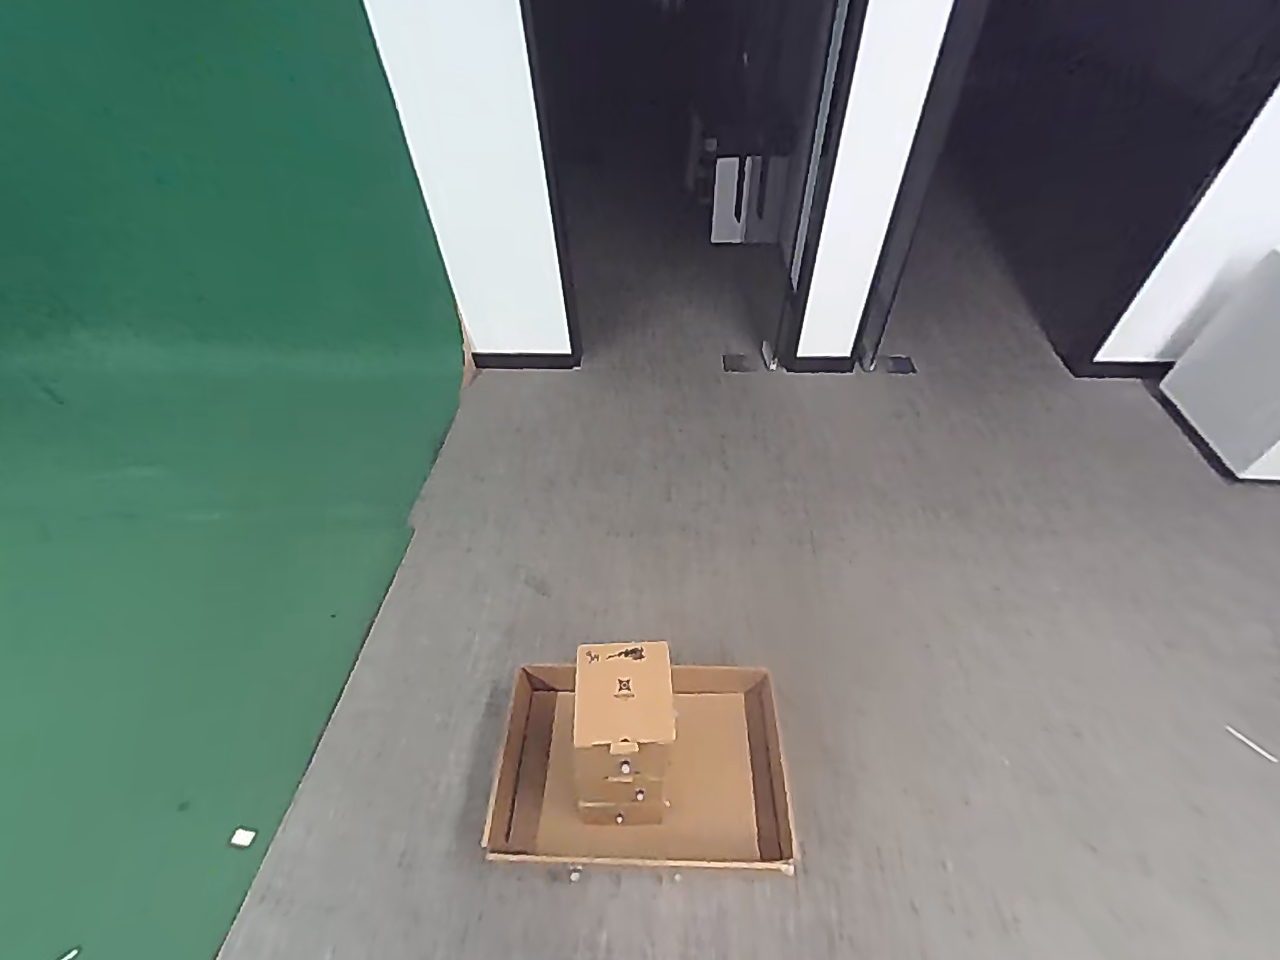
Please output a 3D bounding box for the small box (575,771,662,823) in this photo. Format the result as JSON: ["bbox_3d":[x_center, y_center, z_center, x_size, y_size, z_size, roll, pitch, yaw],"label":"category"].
[{"bbox_3d":[-0.040,0.644,1.194,0.179,0.176,0.168,-1,46,2],"label":"small box"}]

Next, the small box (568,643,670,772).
[{"bbox_3d":[-0.031,0.410,0.969,0.168,0.176,0.179,0,47,0],"label":"small box"}]

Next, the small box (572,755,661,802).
[{"bbox_3d":[-0.039,0.527,1.084,0.168,0.176,0.179,2,45,1],"label":"small box"}]
